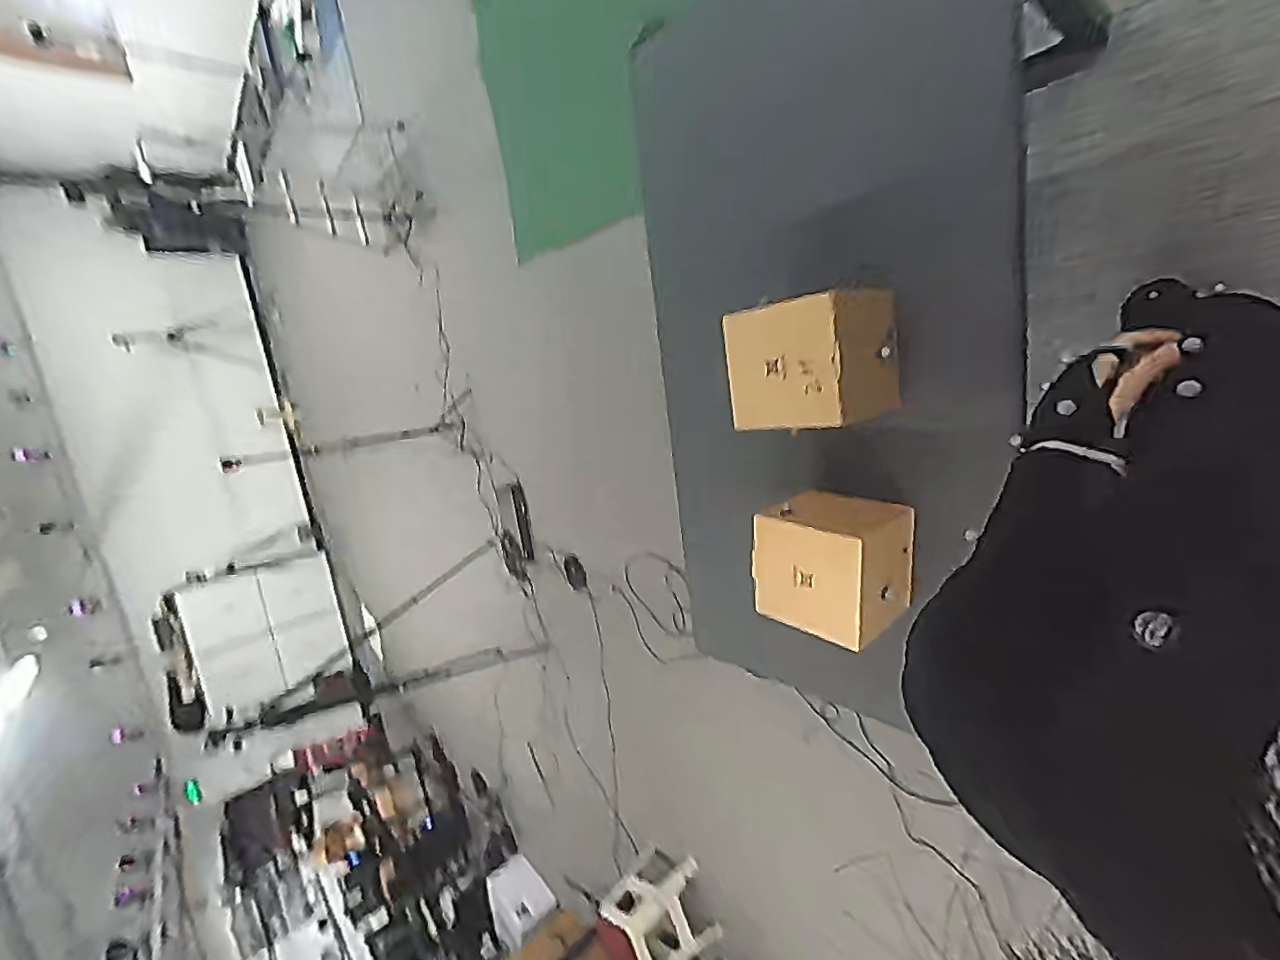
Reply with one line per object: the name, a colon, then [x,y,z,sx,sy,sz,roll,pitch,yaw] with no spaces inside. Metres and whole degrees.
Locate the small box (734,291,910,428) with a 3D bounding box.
small box: [0.264,-0.170,0.784,0.179,0.176,0.168,3,106,50]

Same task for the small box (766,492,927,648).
small box: [0.317,0.124,0.828,0.179,0.176,0.168,11,111,49]
